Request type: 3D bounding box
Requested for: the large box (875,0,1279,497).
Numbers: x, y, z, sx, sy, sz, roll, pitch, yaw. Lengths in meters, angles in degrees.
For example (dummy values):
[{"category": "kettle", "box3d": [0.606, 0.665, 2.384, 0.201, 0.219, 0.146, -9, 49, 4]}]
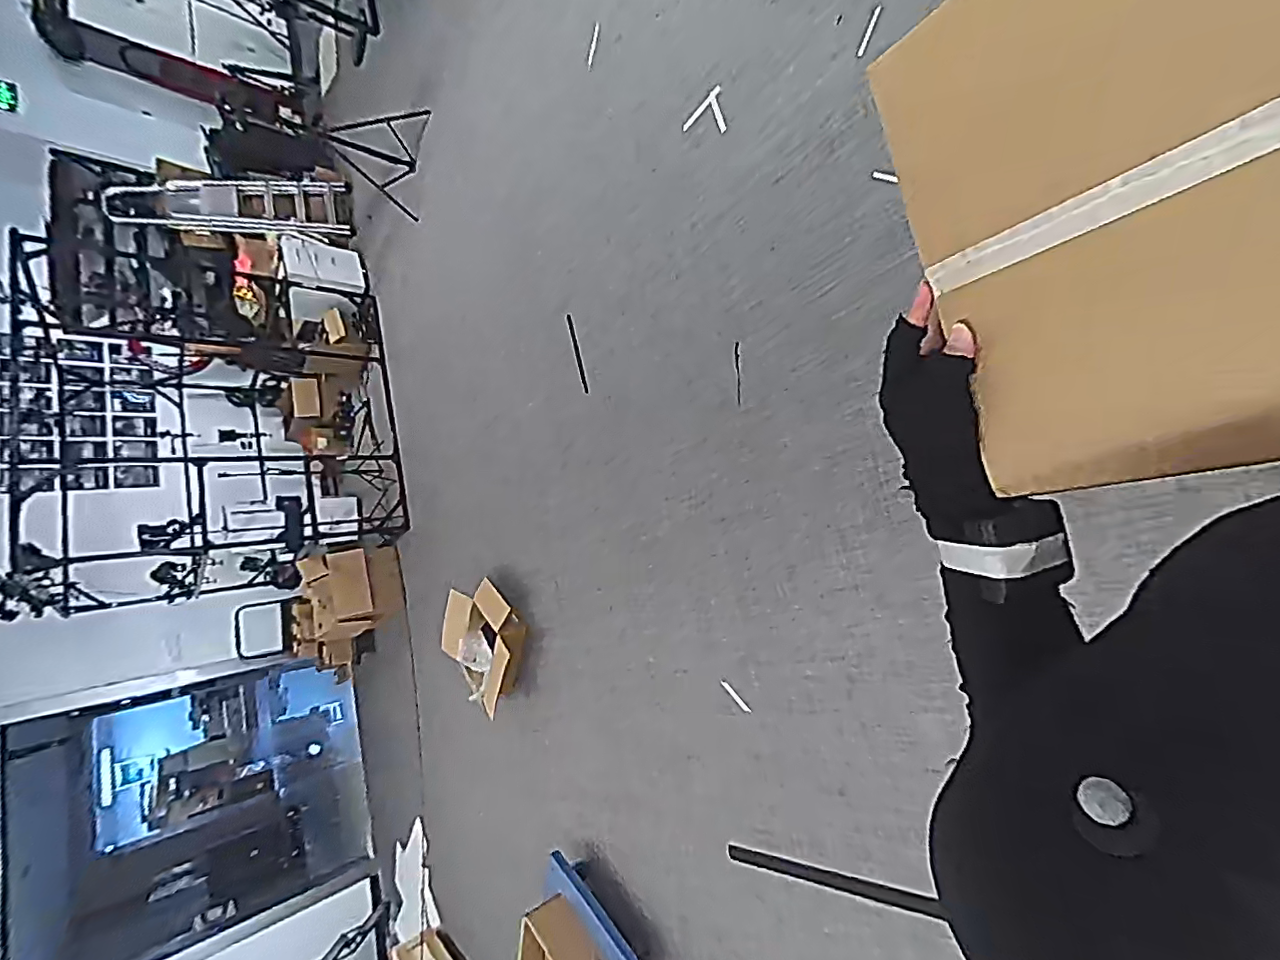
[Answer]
[{"category": "large box", "box3d": [0.440, -0.204, 0.326, 0.408, 0.320, 0.320, -18, 87, 51]}]
